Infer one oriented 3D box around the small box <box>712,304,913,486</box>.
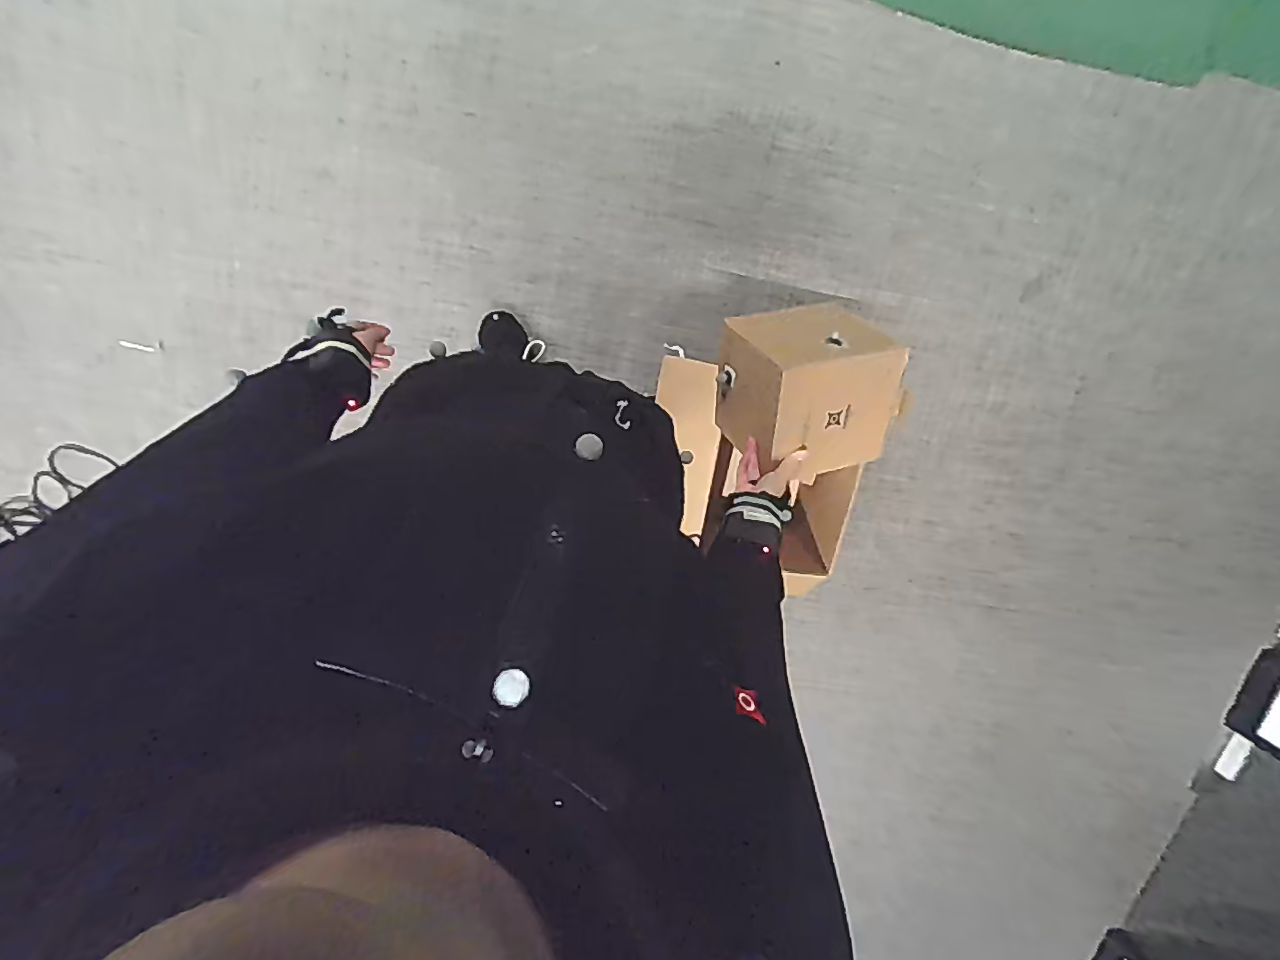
[{"bbox_3d":[0.213,-0.120,0.716,0.179,0.176,0.168,-13,128,-13],"label":"small box"}]
